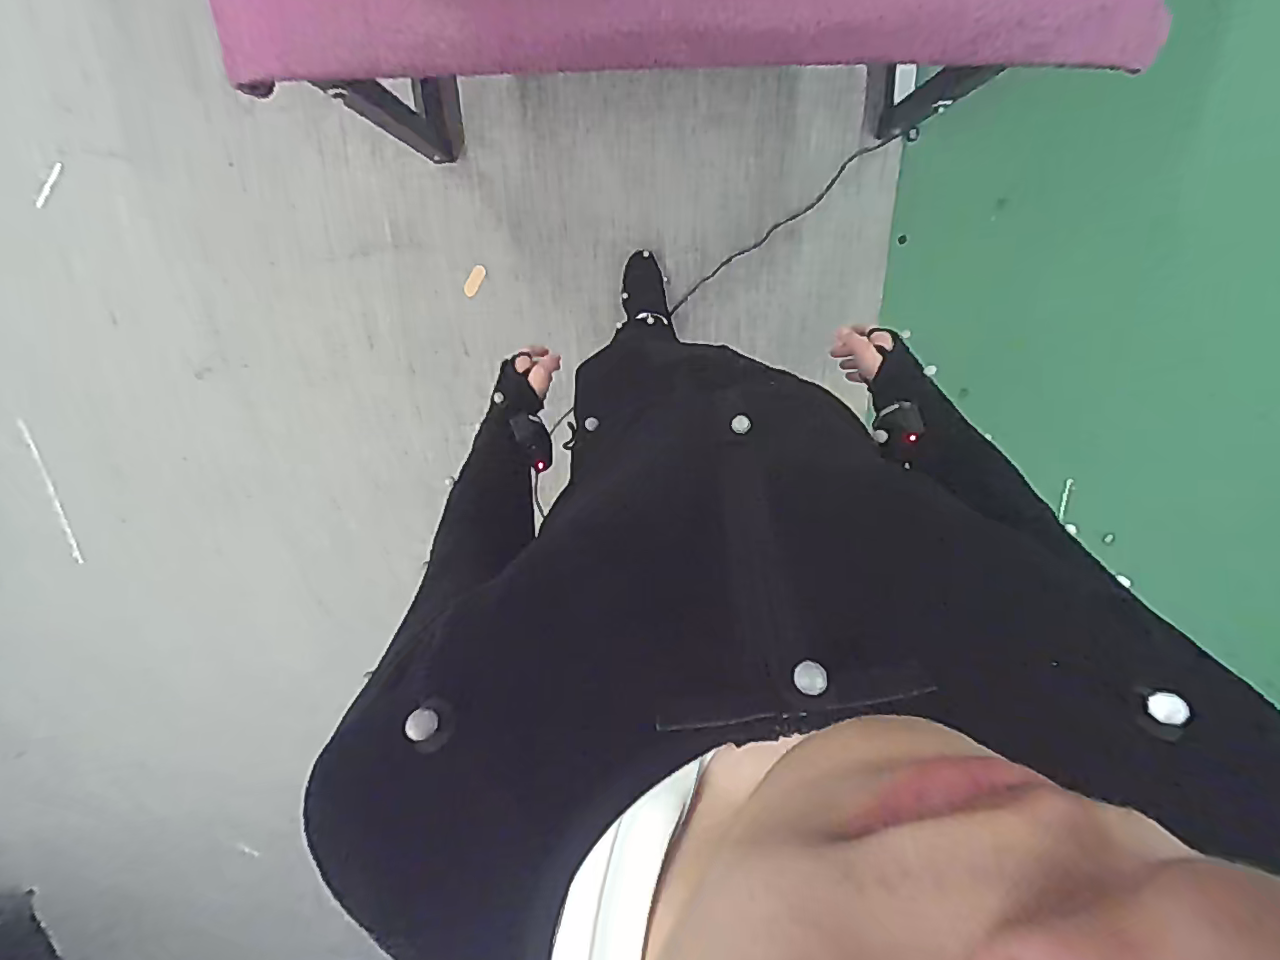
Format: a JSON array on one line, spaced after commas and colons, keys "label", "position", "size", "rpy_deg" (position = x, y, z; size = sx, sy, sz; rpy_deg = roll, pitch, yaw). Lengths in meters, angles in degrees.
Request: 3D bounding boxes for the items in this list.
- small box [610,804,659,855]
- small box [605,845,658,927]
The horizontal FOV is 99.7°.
[{"label": "small box", "position": [-0.022, 1.346, 2.024], "size": [0.179, 0.176, 0.168], "rpy_deg": [2, 109, -1]}, {"label": "small box", "position": [-0.028, 1.398, 1.871], "size": [0.179, 0.176, 0.168], "rpy_deg": [1, 108, -1]}]
